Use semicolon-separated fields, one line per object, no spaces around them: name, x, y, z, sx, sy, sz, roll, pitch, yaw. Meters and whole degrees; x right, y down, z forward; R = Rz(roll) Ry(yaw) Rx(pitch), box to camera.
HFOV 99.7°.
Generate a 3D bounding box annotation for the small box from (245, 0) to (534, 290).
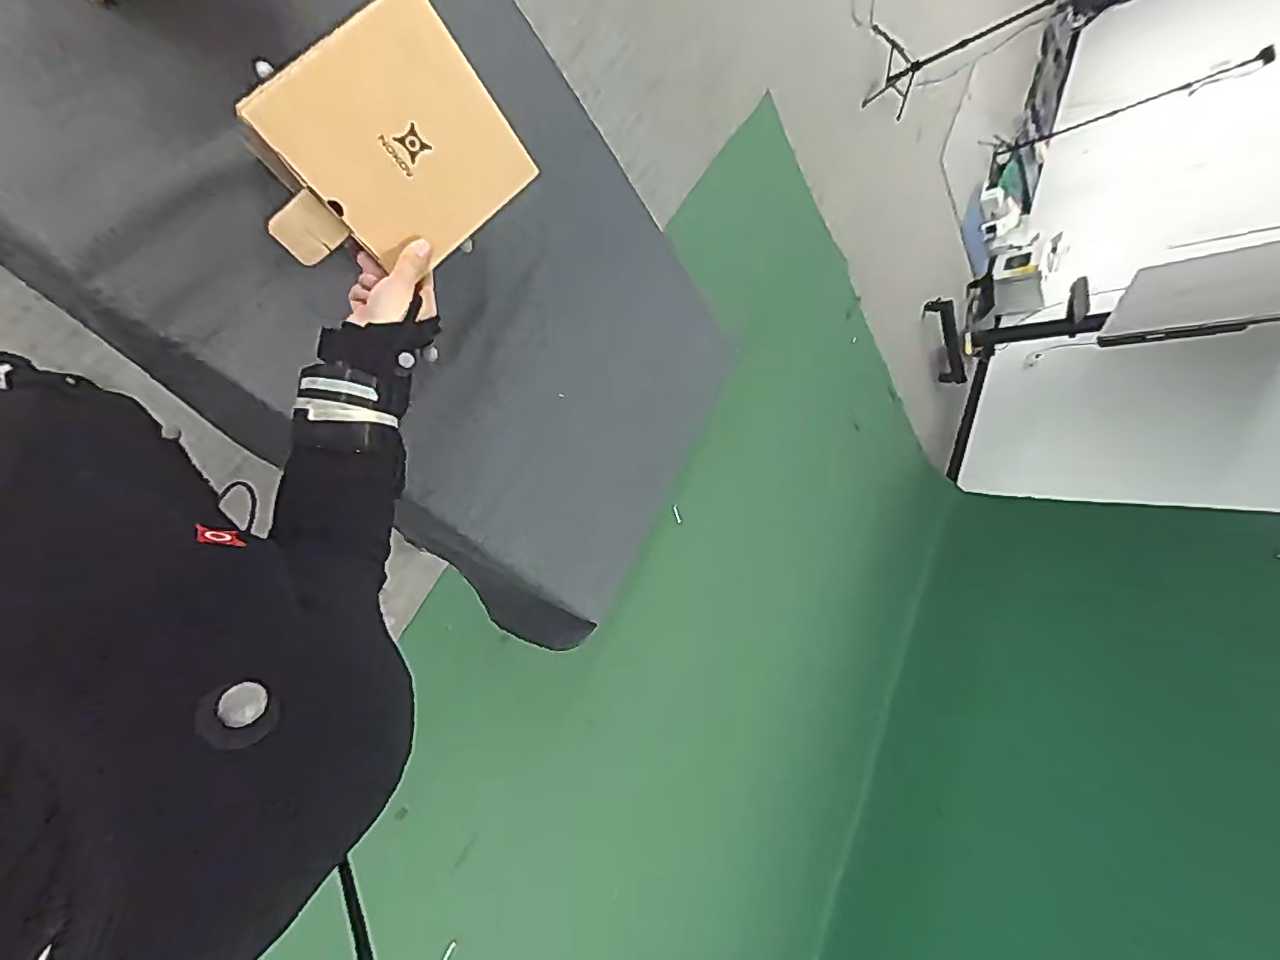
small box;-0.242;-0.314;0.524;0.179;0.176;0.168;-46;129;-7
